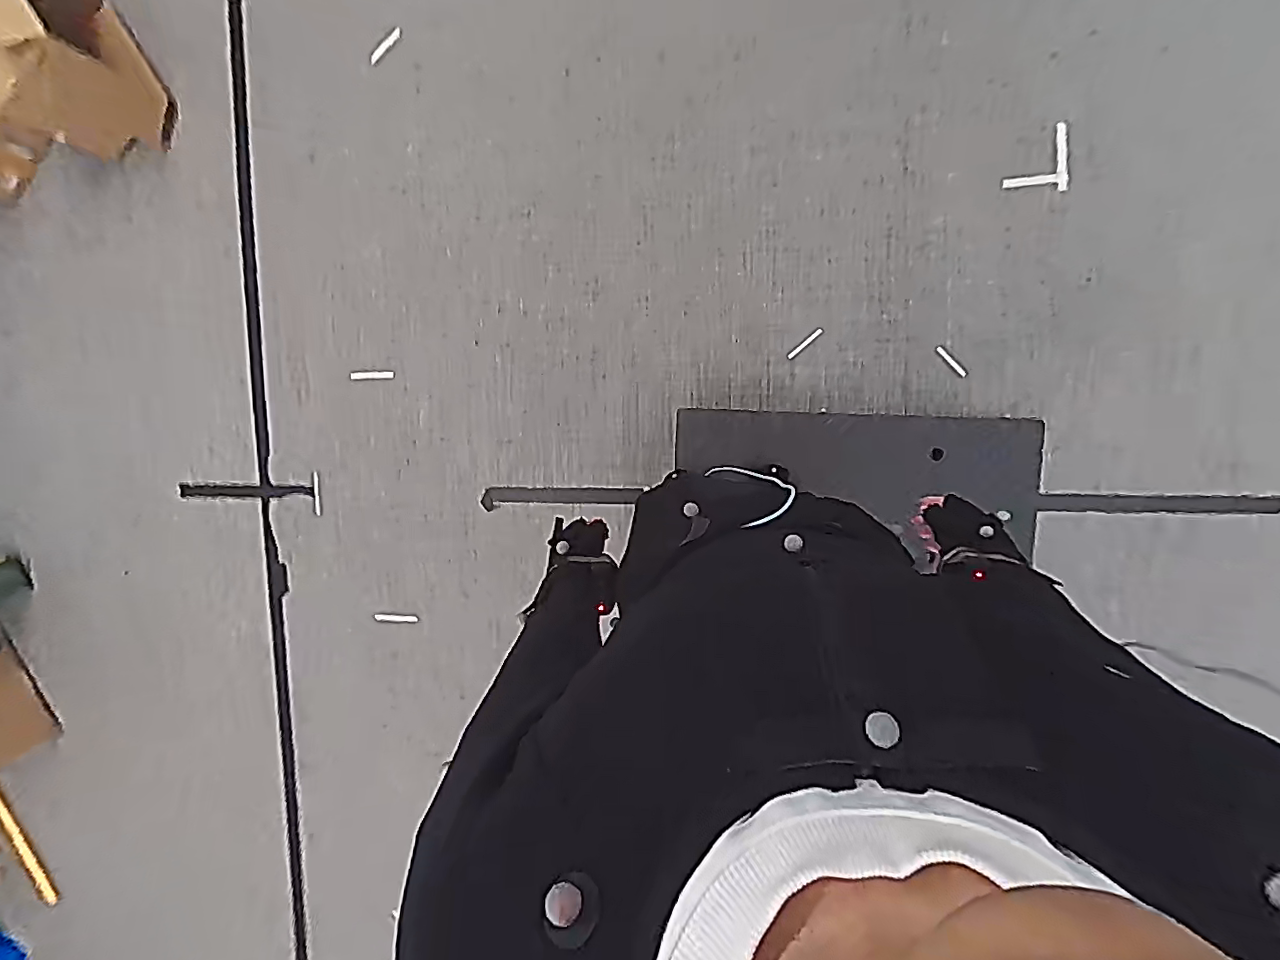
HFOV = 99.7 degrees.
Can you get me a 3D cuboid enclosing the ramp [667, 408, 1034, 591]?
[{"bbox_3d":[0.575,0.056,1.472,0.991,0.206,0.509,0,93,8],"label":"ramp"}]
